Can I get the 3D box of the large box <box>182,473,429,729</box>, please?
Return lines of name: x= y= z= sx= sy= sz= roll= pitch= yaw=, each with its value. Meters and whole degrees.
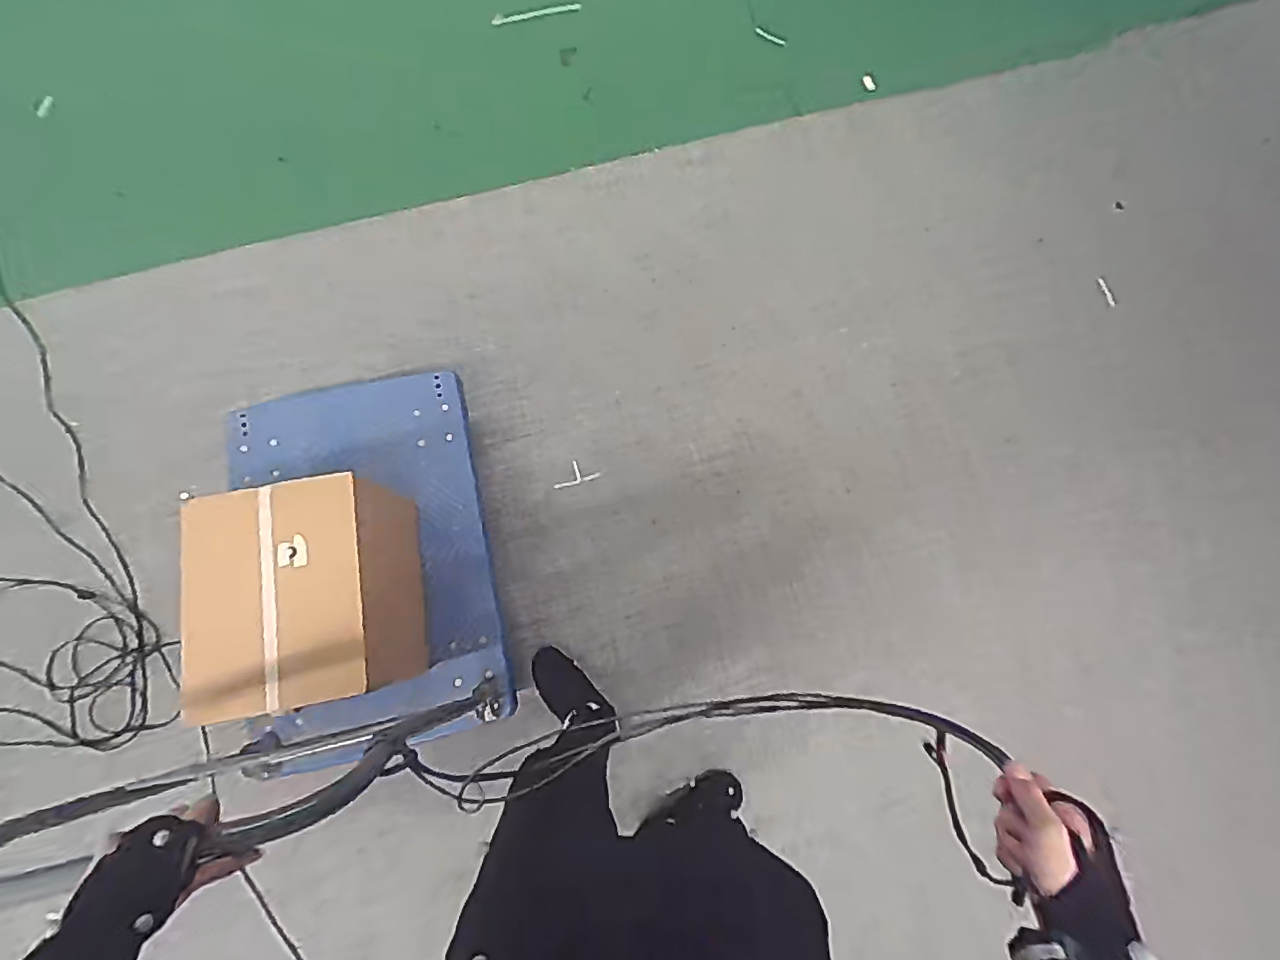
large box: x=-0.652 y=0.236 z=1.098 sx=0.320 sy=0.320 sz=0.408 roll=-10 pitch=77 yaw=-4
